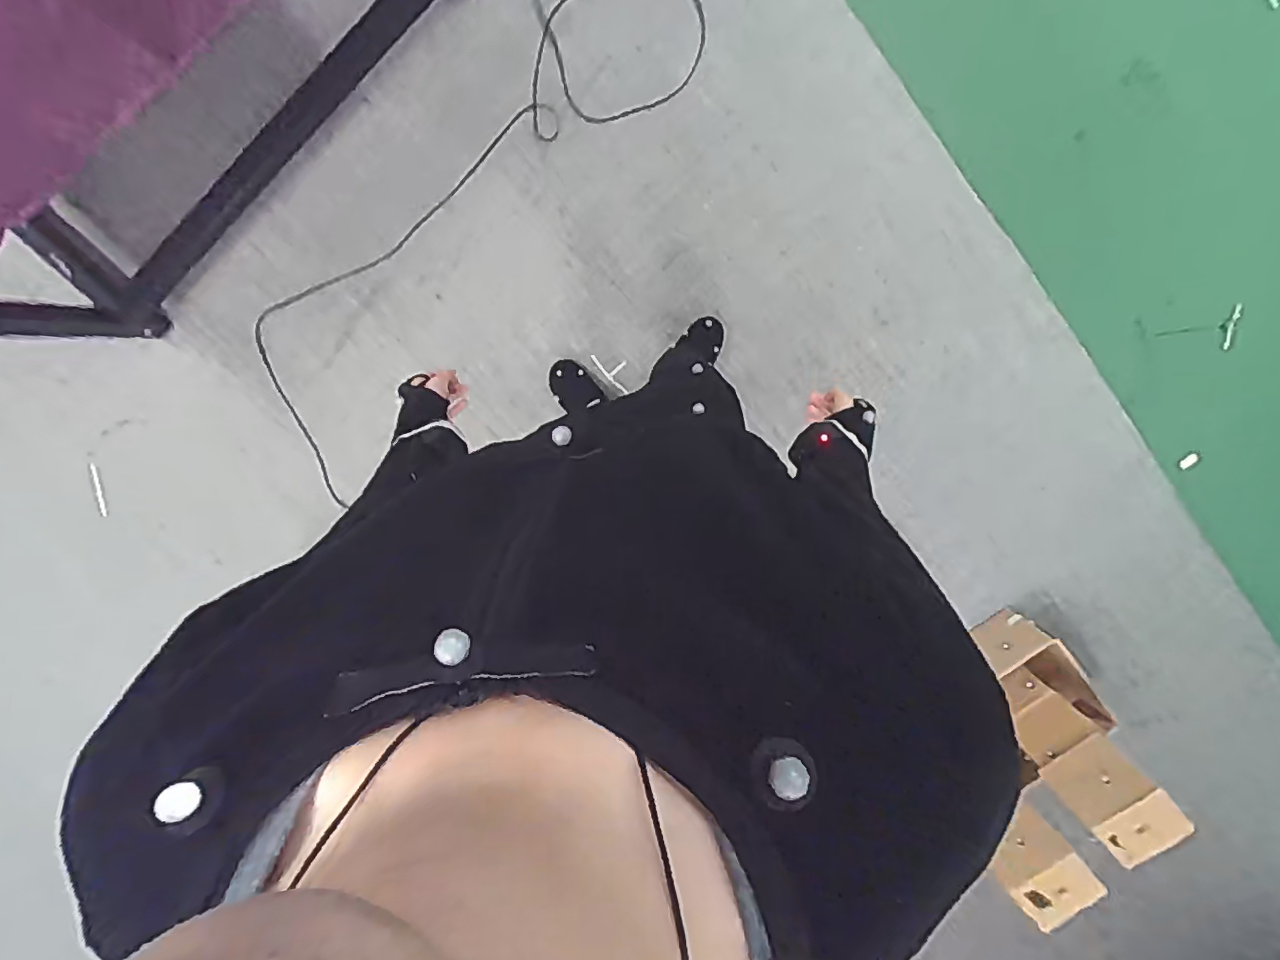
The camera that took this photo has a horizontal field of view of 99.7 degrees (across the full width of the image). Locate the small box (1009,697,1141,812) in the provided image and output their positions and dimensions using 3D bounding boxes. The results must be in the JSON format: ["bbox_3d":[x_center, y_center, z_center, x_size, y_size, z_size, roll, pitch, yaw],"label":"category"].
[{"bbox_3d":[1.134,0.714,1.424,0.179,0.176,0.168,-42,101,10],"label":"small box"}]

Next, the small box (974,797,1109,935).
[{"bbox_3d":[0.945,0.917,1.296,0.179,0.176,0.168,-39,101,6],"label":"small box"}]
